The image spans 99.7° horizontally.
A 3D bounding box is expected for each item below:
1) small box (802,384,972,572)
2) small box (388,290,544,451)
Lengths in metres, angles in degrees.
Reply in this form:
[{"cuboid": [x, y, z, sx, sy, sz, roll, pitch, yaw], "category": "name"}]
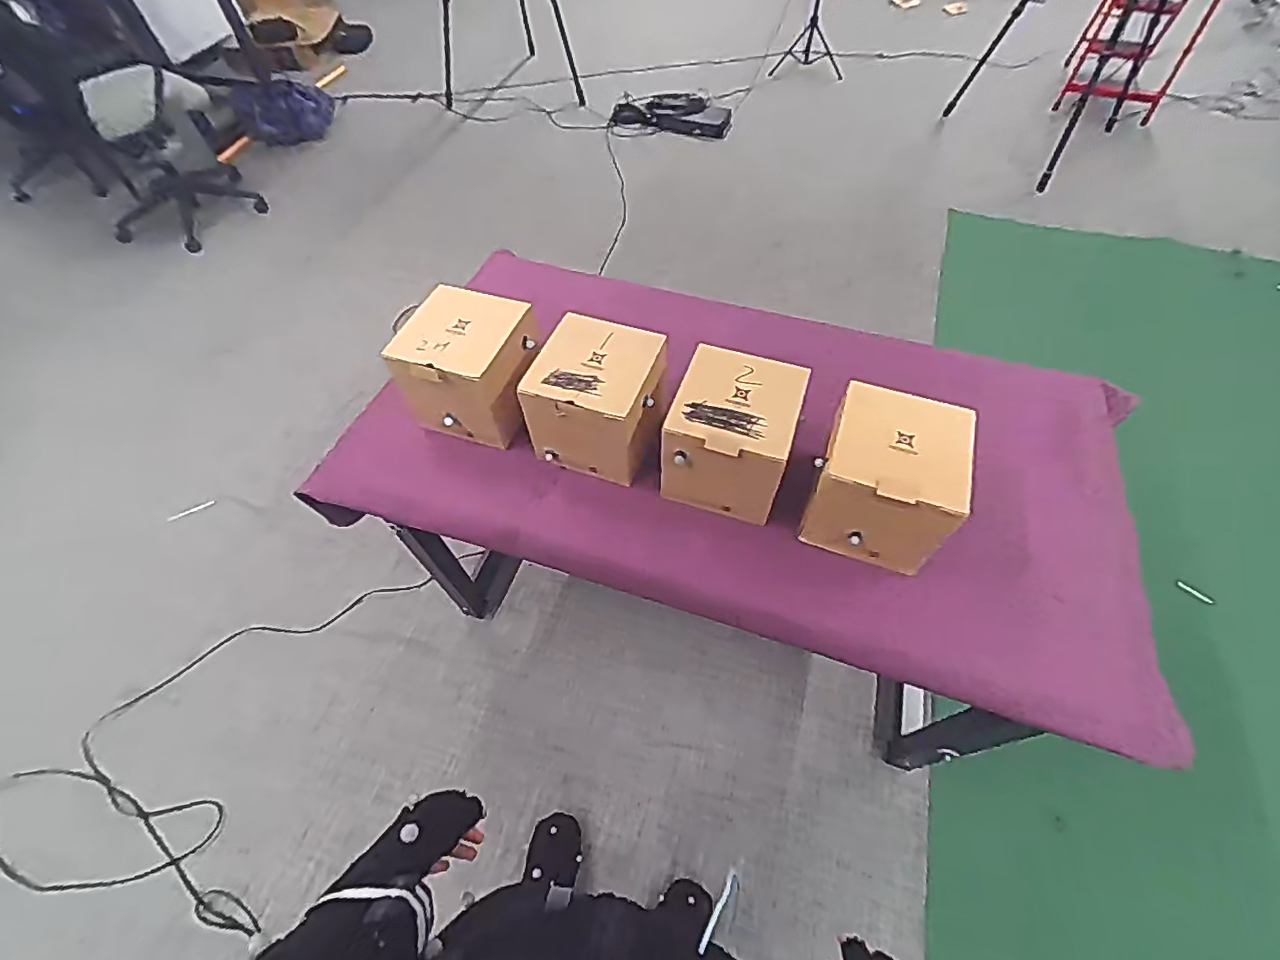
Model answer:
[{"cuboid": [0.339, 0.000, 0.761, 0.168, 0.176, 0.179, 17, 58, 13], "category": "small box"}, {"cuboid": [-0.271, -0.179, 0.896, 0.168, 0.176, 0.179, 15, 58, 12], "category": "small box"}]
